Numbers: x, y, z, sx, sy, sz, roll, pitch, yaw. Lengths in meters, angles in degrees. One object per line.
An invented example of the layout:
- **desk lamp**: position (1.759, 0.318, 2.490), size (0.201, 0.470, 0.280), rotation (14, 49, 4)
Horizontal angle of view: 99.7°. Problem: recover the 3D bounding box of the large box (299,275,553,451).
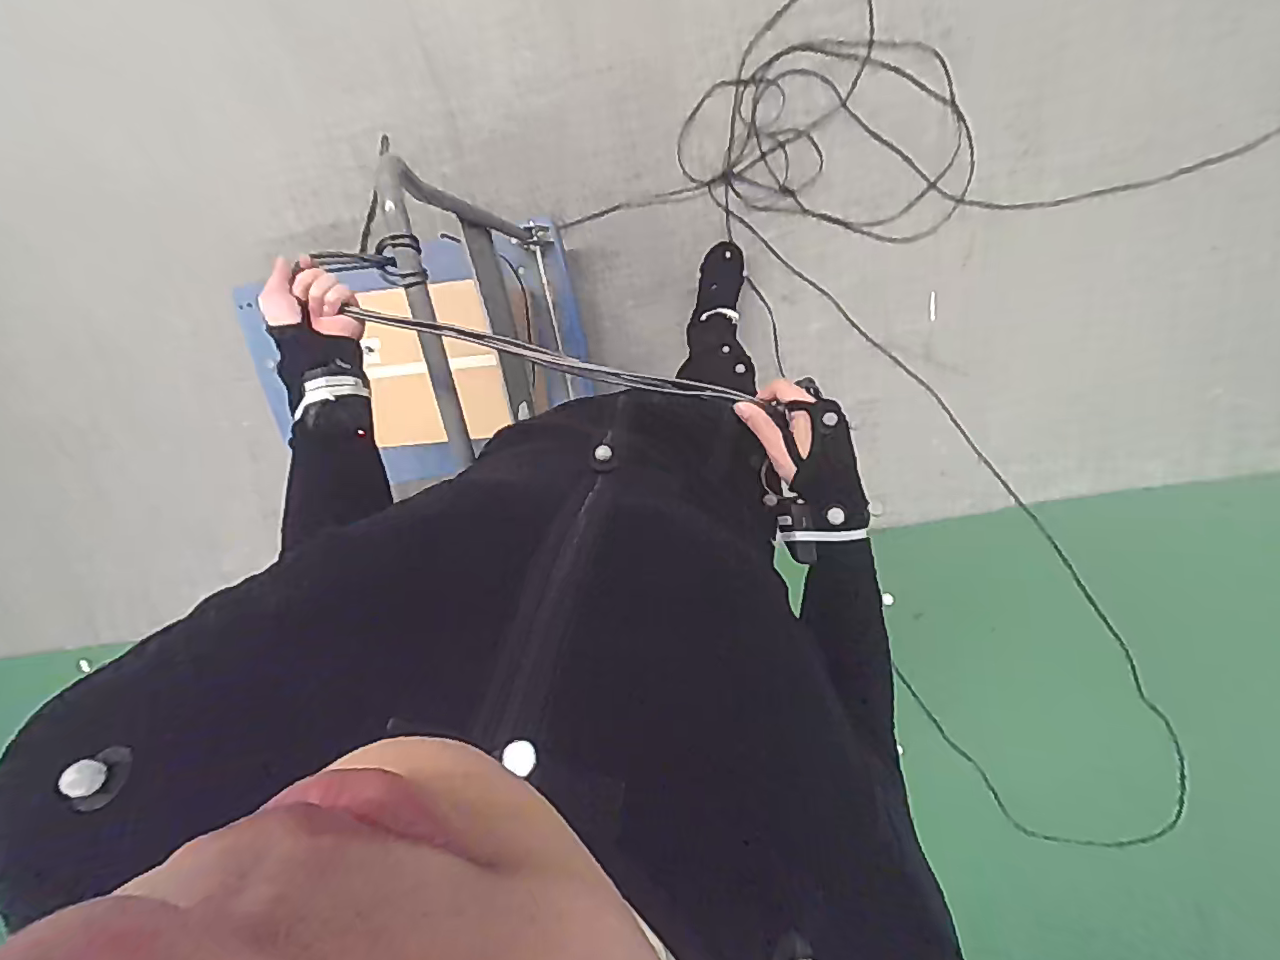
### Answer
- **large box**: position (-0.450, -0.270, 1.231), size (0.408, 0.320, 0.320), rotation (-5, 106, 7)
